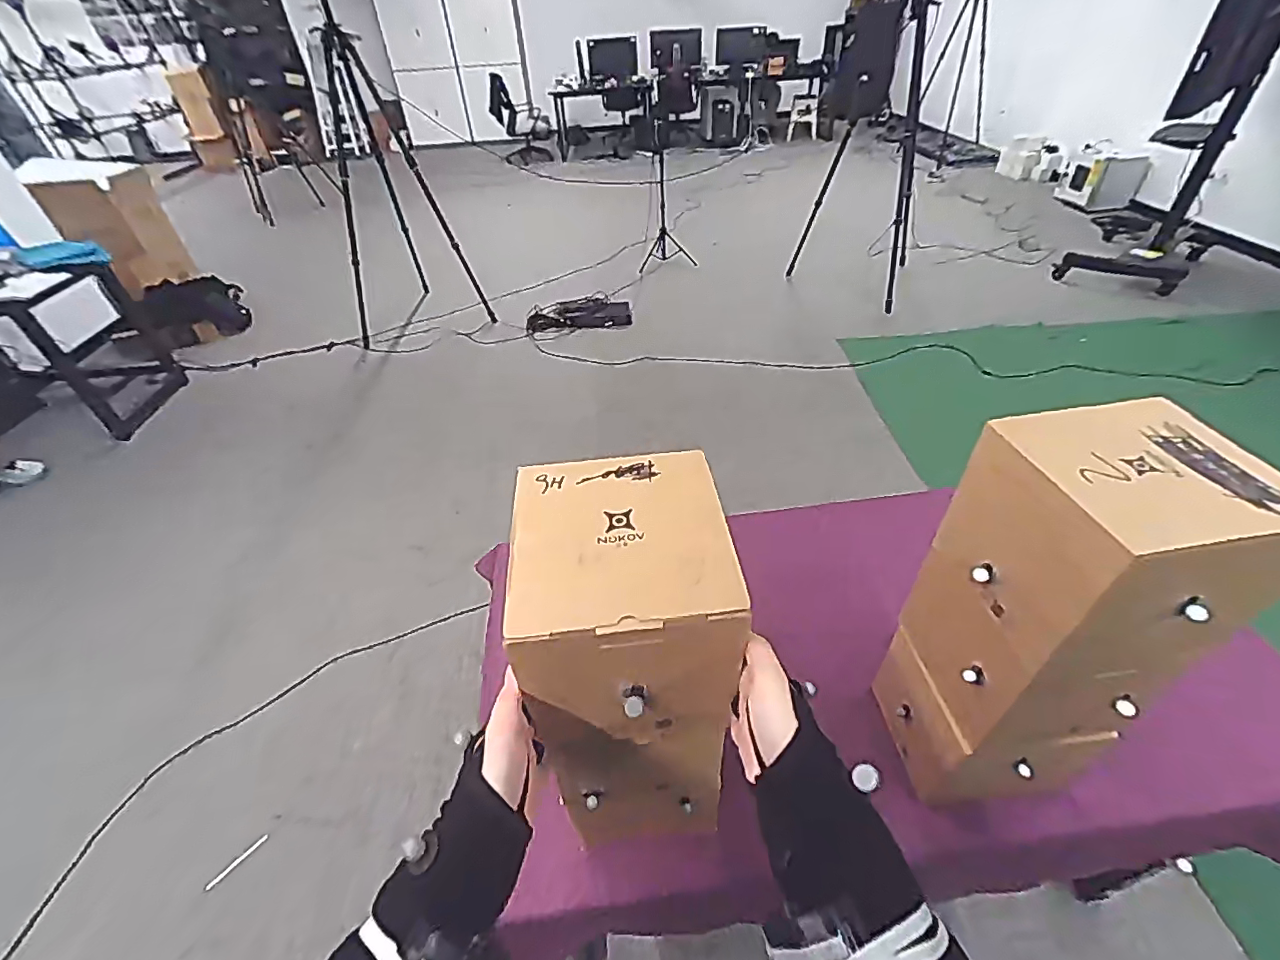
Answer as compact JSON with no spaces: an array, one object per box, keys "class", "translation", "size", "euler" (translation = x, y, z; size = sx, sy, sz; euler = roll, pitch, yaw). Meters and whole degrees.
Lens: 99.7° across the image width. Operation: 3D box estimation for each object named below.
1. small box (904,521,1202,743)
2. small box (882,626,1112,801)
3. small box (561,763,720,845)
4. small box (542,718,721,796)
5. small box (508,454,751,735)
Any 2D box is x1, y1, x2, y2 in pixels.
[{"class":"small box","translation":[0.428,0.172,0.602],"size":[0.168,0.176,0.179],"euler":[-6,41,-3]},{"class":"small box","translation":[0.437,0.298,0.705],"size":[0.179,0.176,0.168],"euler":[-5,42,-1]},{"class":"small box","translation":[-0.001,0.343,0.693],"size":[0.179,0.176,0.168],"euler":[-6,41,-3]},{"class":"small box","translation":[-0.008,0.219,0.586],"size":[0.168,0.176,0.179],"euler":[-6,40,-3]},{"class":"small box","translation":[-0.009,0.102,0.468],"size":[0.168,0.176,0.179],"euler":[-5,43,-3]}]
